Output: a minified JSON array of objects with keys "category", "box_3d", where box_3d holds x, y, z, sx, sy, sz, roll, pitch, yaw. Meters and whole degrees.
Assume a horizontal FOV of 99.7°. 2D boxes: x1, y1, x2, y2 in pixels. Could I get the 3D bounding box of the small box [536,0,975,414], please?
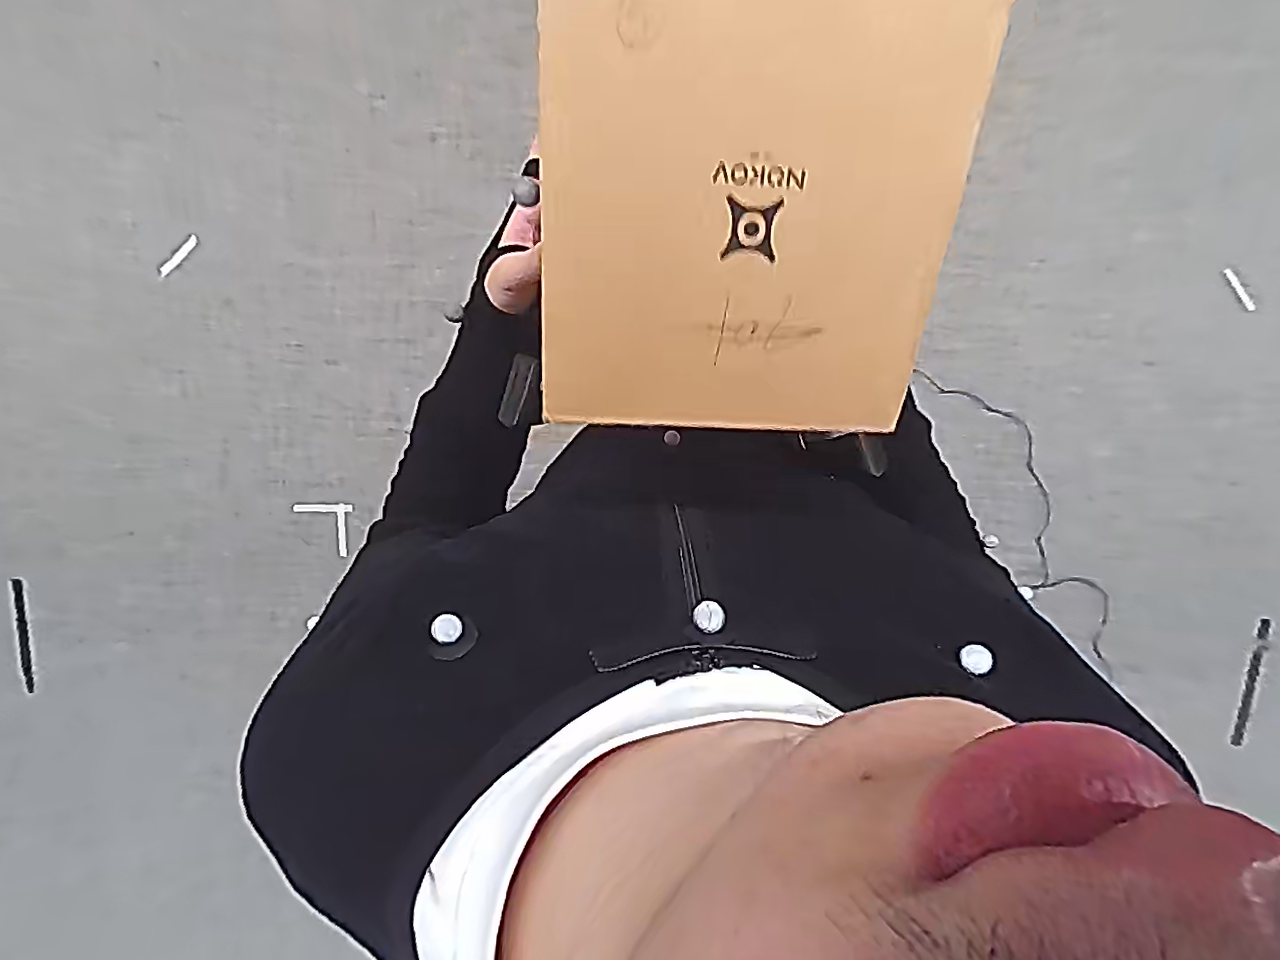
[{"category":"small box","box_3d":[0.032,-0.146,0.296,0.168,0.176,0.179,2,114,-6]}]
